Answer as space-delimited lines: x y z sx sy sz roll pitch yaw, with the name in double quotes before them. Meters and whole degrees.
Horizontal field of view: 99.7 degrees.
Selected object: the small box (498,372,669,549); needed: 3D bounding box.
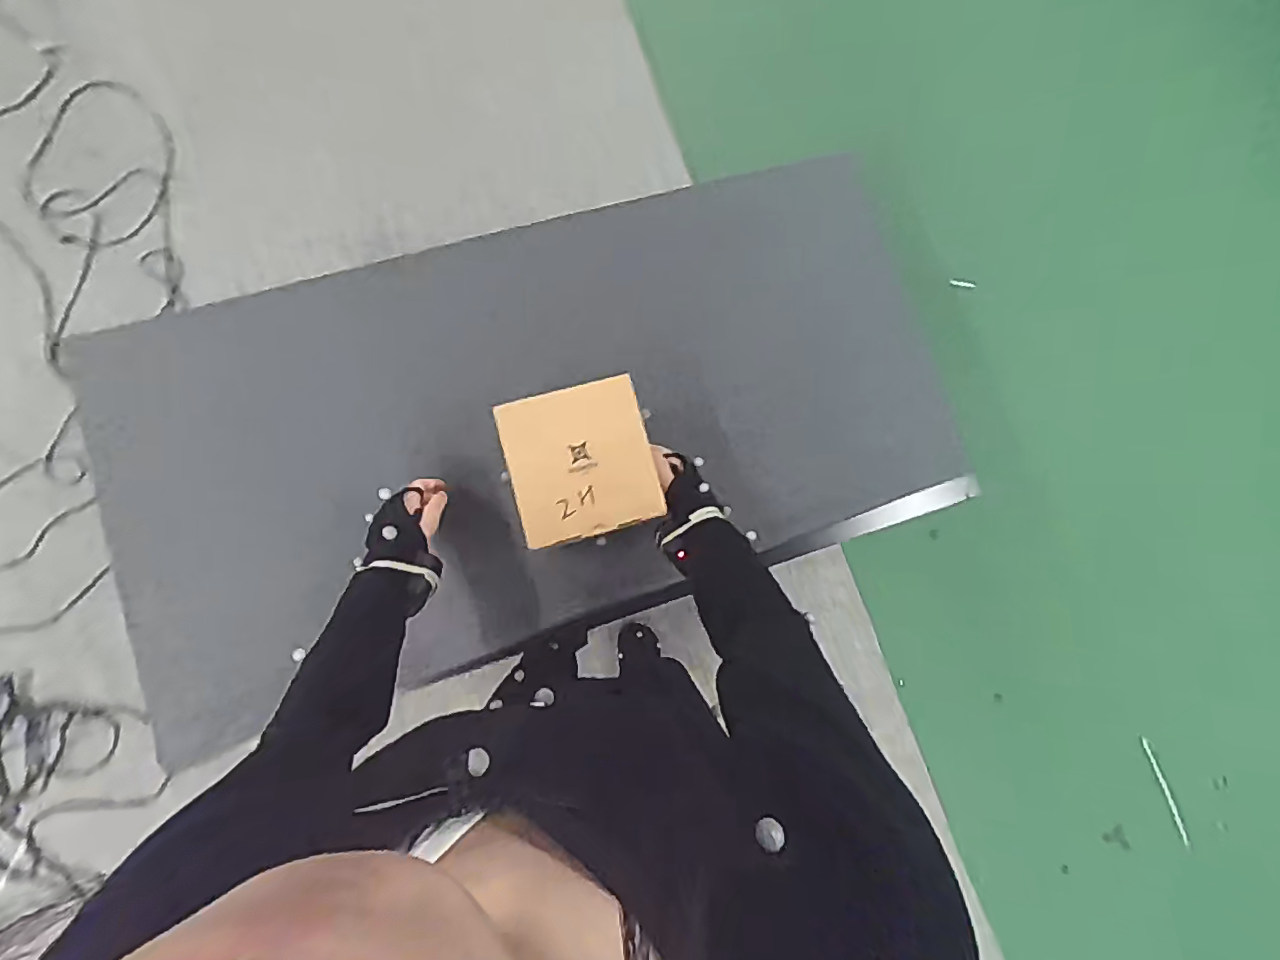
"small box" -0.072 -0.015 0.699 0.168 0.176 0.179 -15 84 -6
